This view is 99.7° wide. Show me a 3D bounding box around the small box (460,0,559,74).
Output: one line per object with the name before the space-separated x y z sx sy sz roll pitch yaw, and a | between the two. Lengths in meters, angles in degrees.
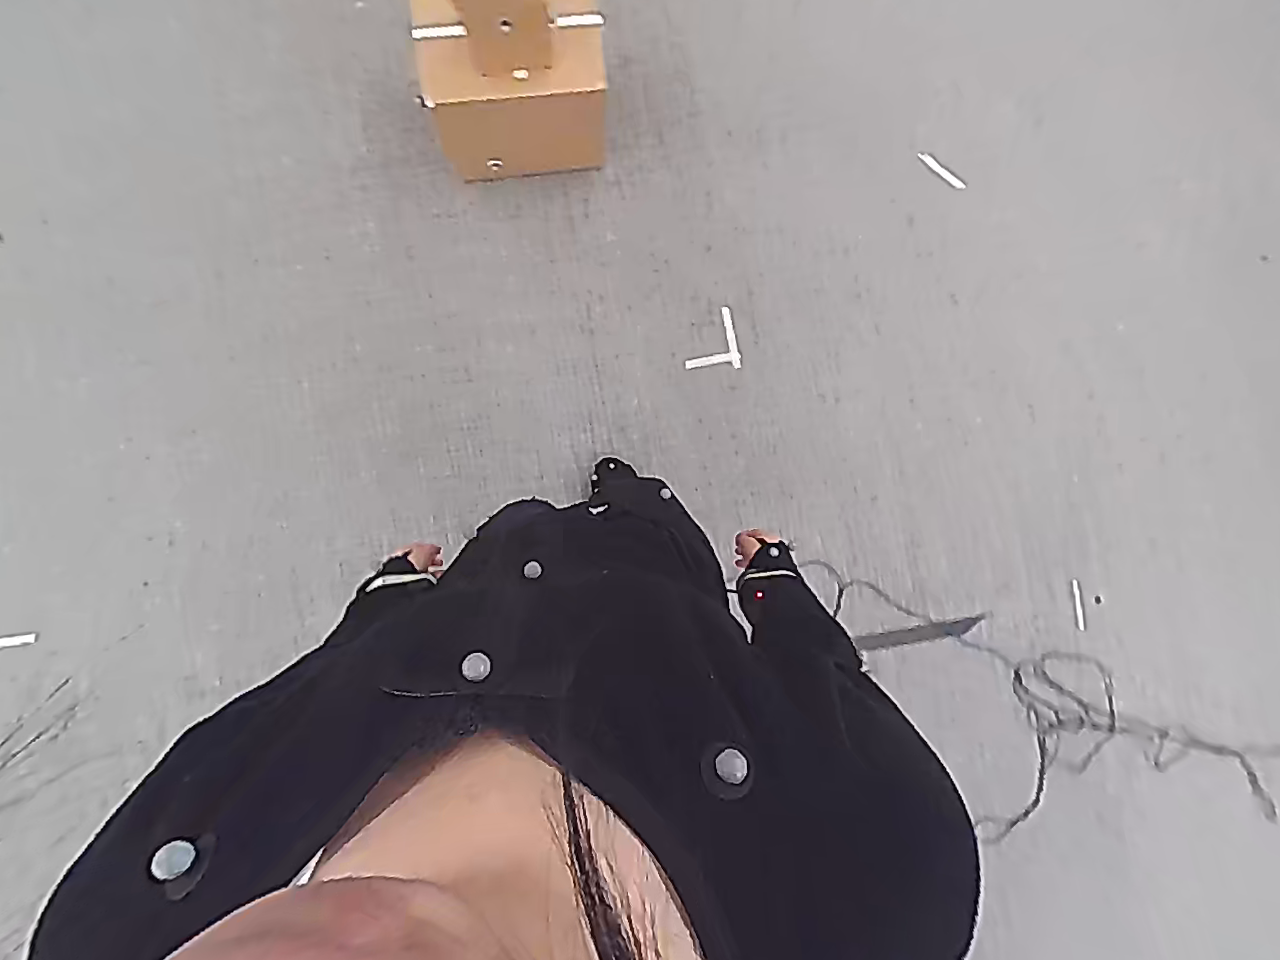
small box | -0.270 -0.975 1.109 0.179 0.176 0.168 -10 91 -4
